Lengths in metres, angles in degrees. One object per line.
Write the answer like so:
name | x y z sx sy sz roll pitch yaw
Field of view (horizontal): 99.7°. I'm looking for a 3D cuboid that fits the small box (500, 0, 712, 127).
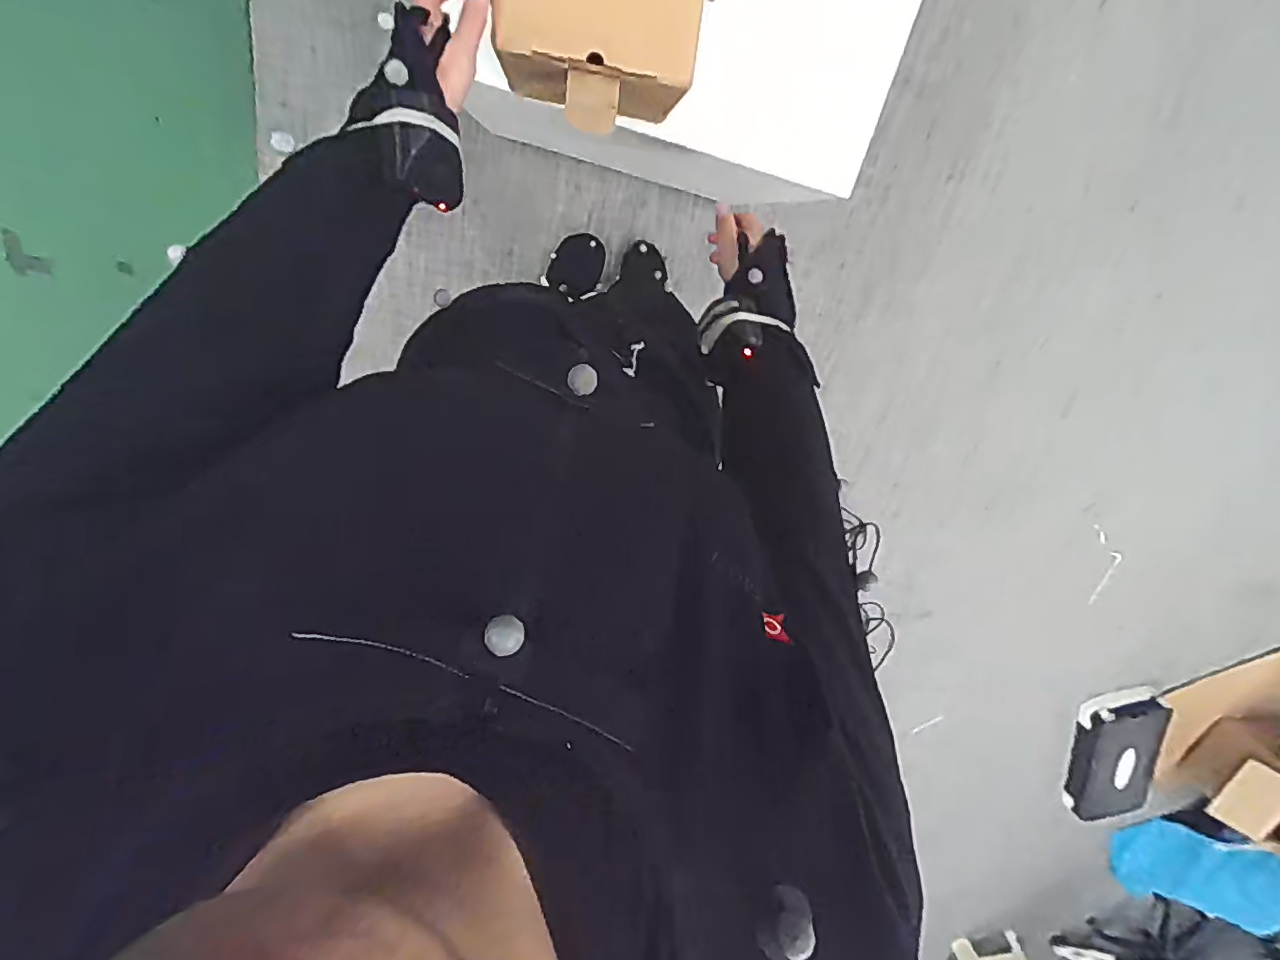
small box | -0.029 -0.441 0.480 0.168 0.176 0.179 5 115 -9
